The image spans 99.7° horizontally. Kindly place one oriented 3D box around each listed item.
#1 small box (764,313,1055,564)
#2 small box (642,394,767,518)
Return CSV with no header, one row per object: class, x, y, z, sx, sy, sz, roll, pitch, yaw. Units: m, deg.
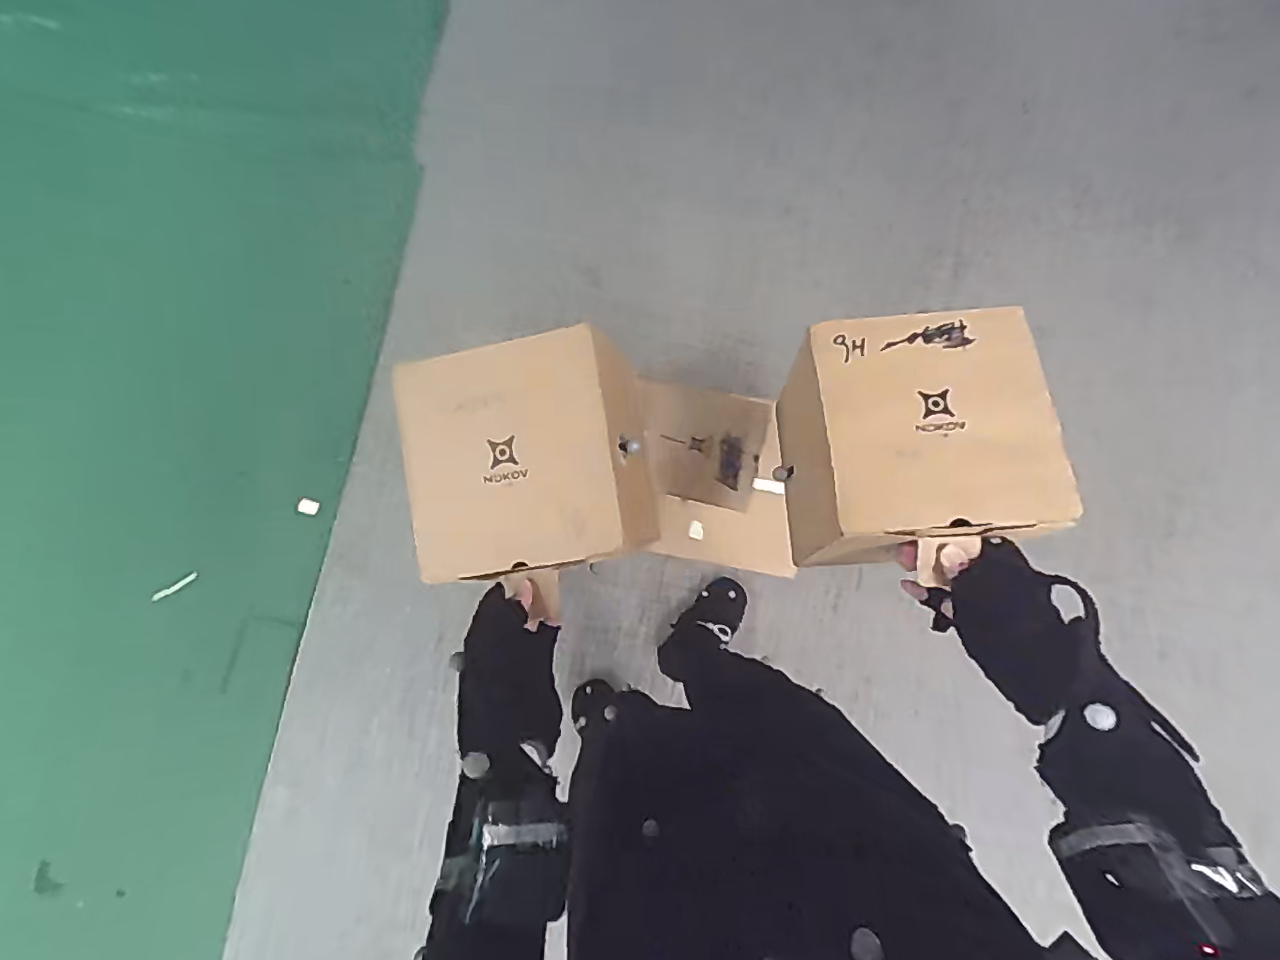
small box,0.212,-0.020,0.483,0.168,0.176,0.179,-5,75,3
small box,0.103,-0.039,0.893,0.179,0.176,0.168,9,92,3
